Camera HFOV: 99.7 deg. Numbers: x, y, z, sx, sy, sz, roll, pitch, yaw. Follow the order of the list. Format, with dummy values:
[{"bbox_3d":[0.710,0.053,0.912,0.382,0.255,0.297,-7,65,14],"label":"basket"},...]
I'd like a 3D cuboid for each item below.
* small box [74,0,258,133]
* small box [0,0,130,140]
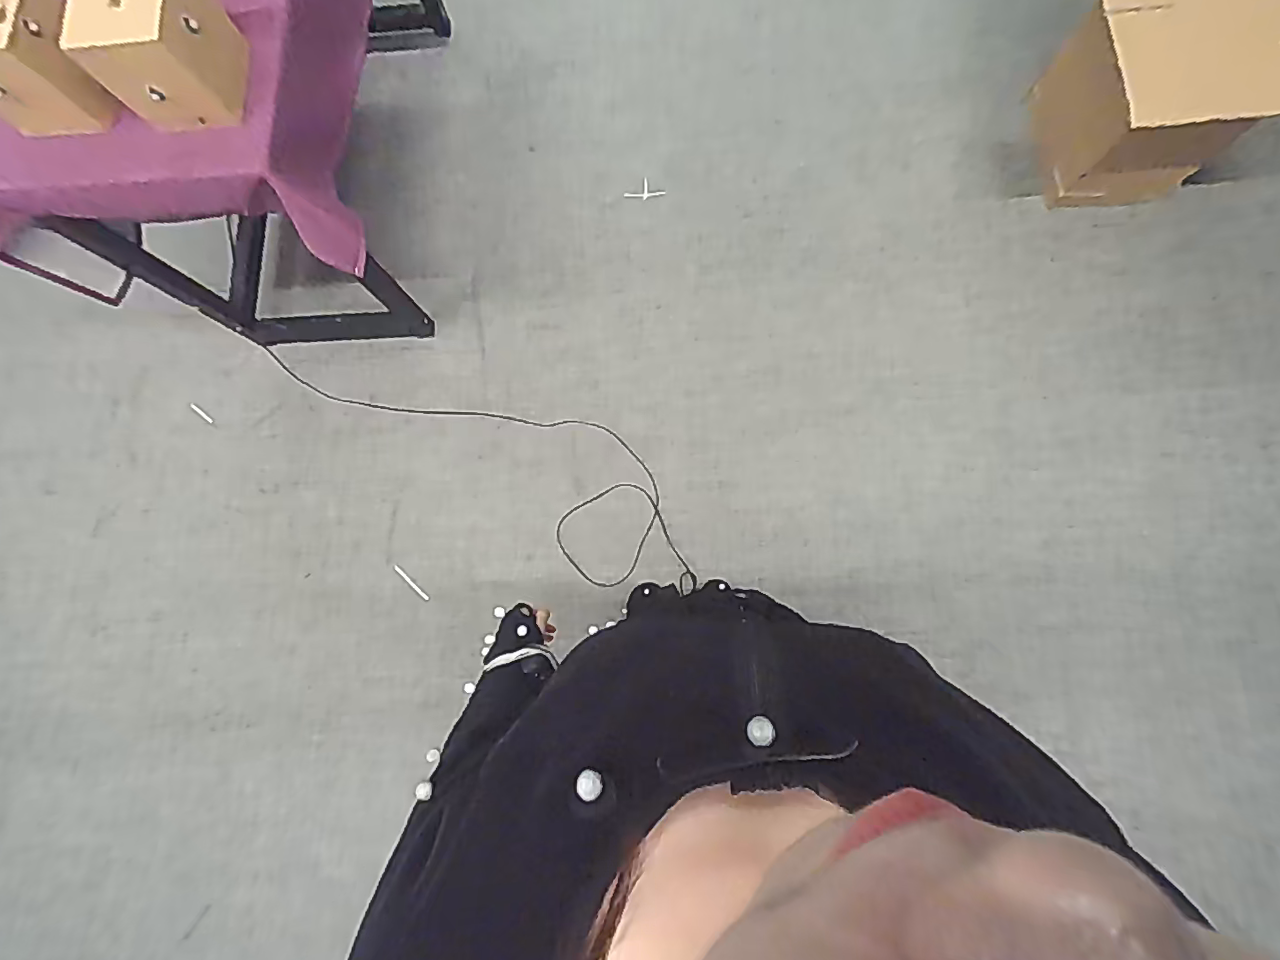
[{"bbox_3d":[-0.810,-0.738,0.942,0.168,0.176,0.179,-1,79,4],"label":"small box"},{"bbox_3d":[-1.067,-0.738,0.962,0.179,0.176,0.168,0,79,5],"label":"small box"}]
